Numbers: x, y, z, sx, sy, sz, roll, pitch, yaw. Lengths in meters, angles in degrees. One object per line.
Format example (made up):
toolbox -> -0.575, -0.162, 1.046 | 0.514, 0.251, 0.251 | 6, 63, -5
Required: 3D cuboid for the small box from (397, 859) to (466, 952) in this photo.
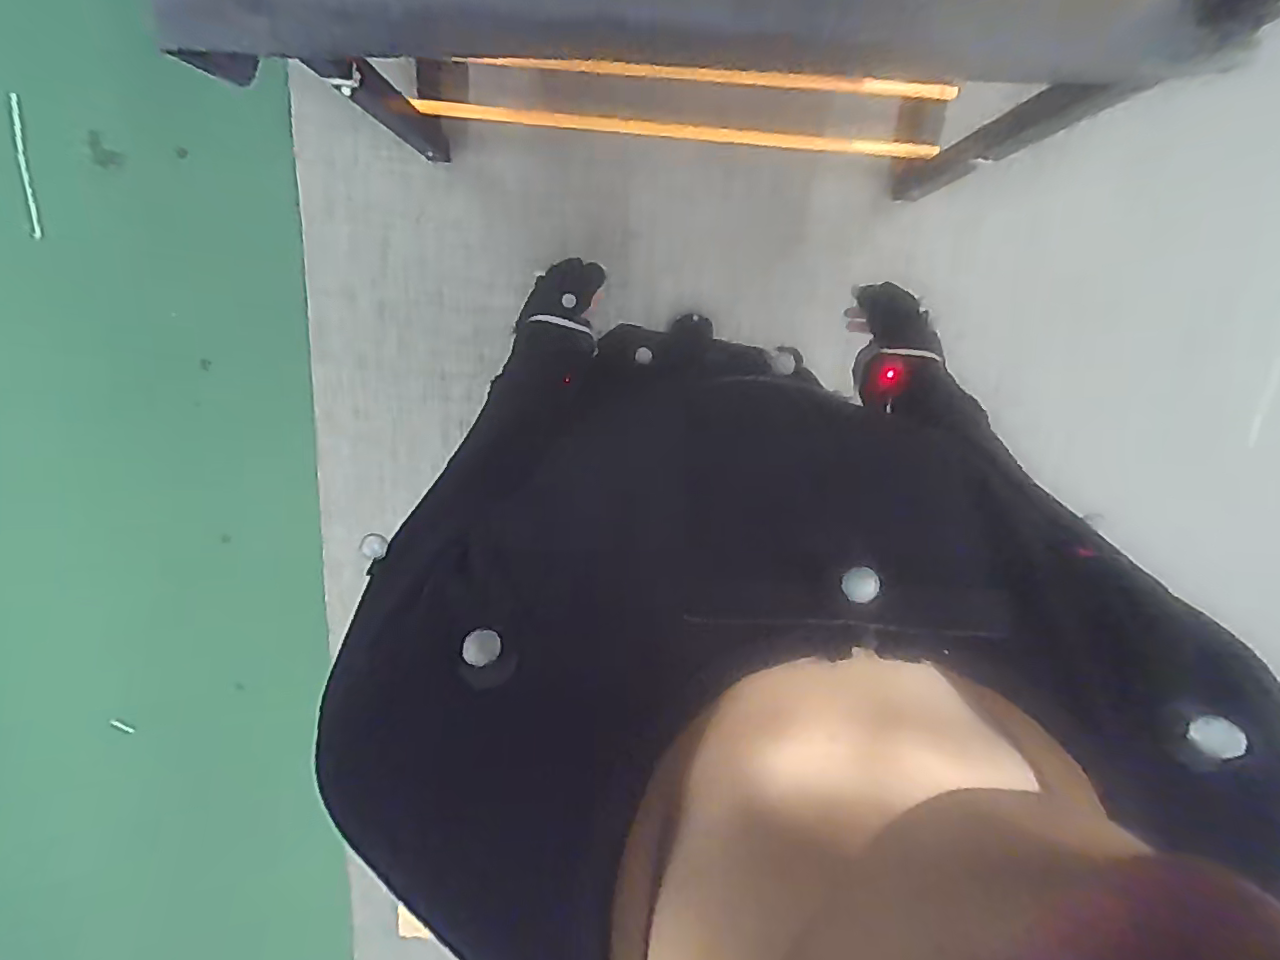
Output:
small box -> -0.682, 1.391, 1.777 | 0.168, 0.176, 0.179 | 6, 104, 0
